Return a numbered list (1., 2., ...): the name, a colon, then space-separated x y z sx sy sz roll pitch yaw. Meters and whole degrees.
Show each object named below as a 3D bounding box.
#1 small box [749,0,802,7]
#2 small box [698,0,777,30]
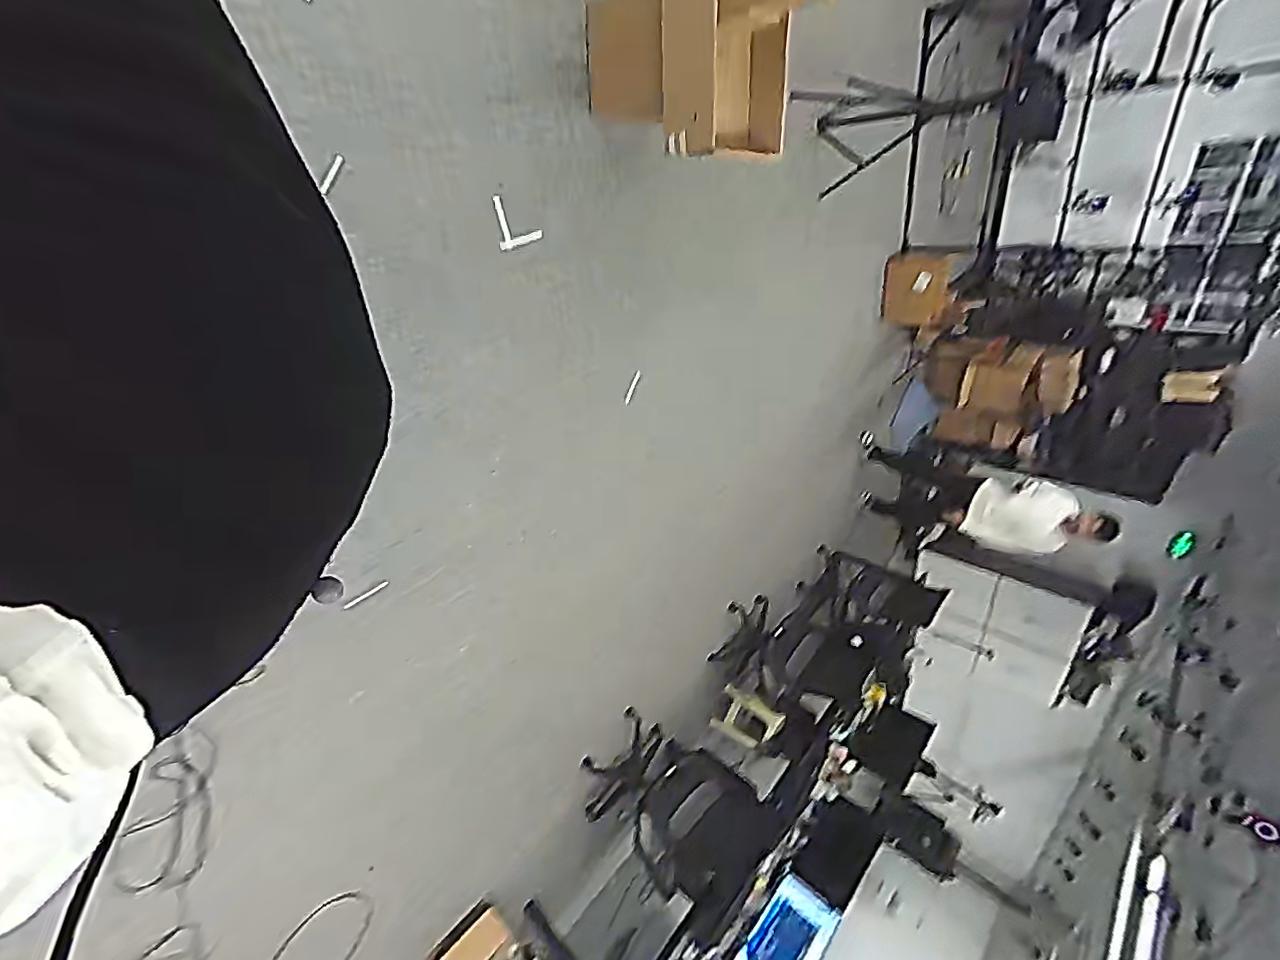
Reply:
1. small box: 0.397 -1.385 1.430 0.179 0.176 0.168 -33 128 -38
2. small box: 0.277 -1.420 1.536 0.168 0.176 0.179 -30 127 -38
